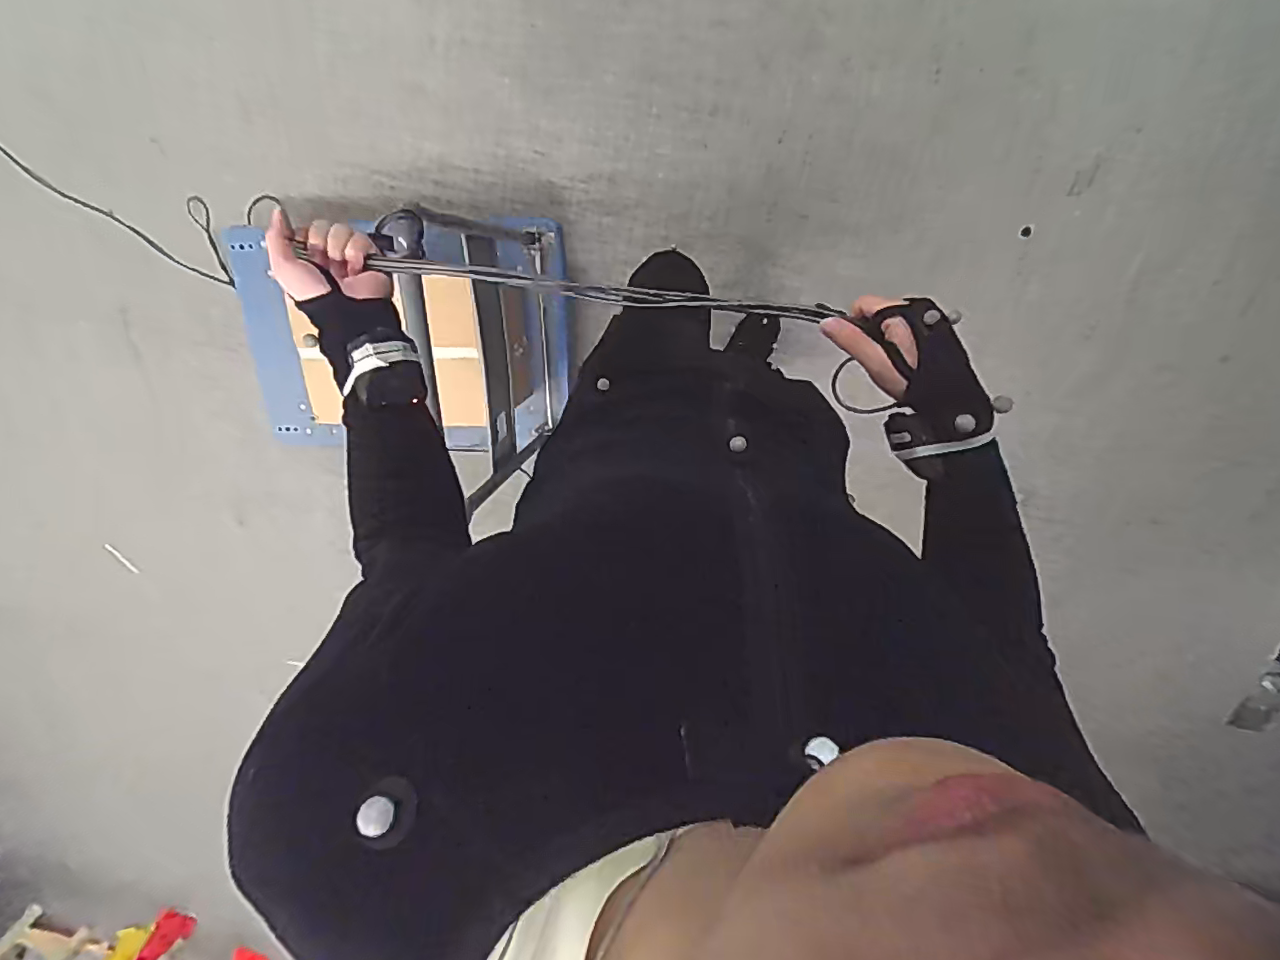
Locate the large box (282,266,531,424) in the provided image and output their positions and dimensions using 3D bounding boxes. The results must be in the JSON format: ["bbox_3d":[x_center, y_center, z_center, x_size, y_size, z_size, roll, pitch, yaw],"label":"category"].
[{"bbox_3d":[-0.501,-0.321,1.250,0.408,0.320,0.320,1,110,6],"label":"large box"}]
